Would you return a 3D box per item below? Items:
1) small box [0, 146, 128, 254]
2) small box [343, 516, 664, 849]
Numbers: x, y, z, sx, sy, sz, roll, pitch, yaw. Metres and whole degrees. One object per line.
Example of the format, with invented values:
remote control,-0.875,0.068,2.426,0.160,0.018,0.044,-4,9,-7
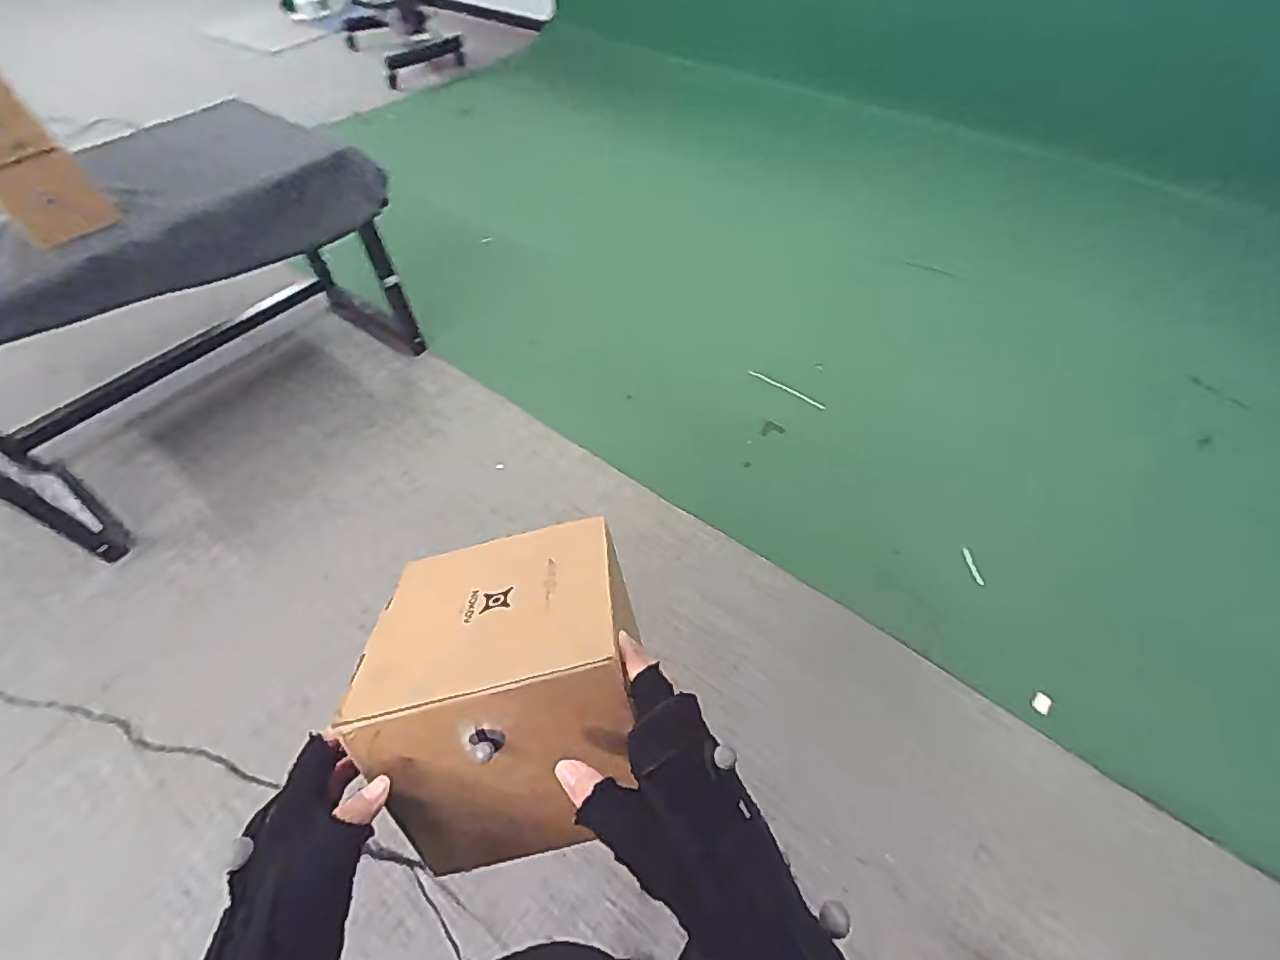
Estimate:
small box,-1.342,-0.654,1.242,0.168,0.176,0.179,31,61,22
small box,-0.090,0.156,0.435,0.179,0.176,0.168,-14,27,0
